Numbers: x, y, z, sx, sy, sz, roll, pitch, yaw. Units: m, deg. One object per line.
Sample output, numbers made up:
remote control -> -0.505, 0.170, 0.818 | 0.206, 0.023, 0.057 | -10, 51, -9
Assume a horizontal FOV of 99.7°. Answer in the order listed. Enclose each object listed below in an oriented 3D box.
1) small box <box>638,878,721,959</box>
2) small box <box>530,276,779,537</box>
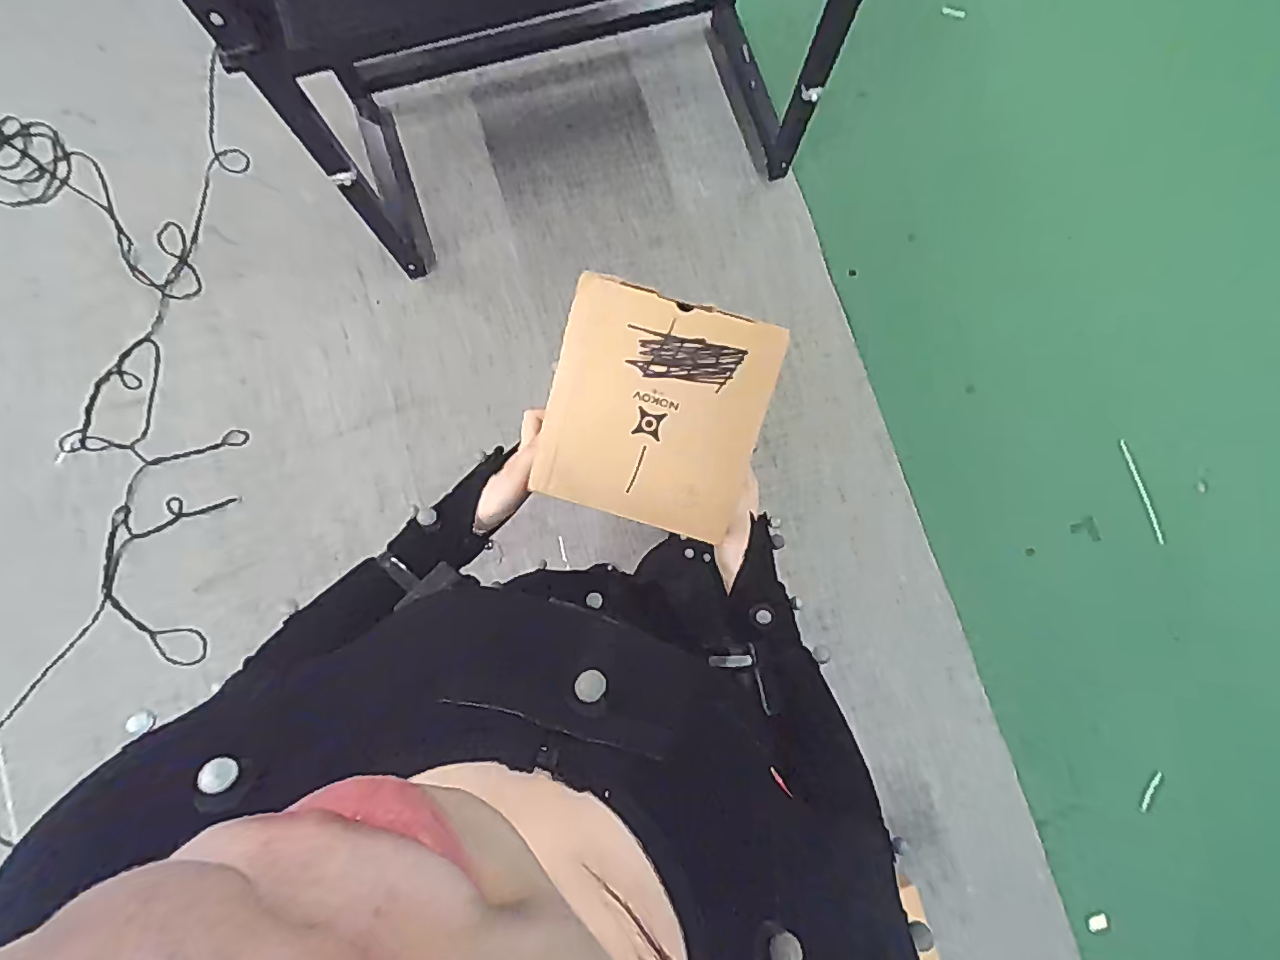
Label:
small box -> 0.089, 1.027, 1.188 | 0.168, 0.176, 0.179 | -9, 83, -3
small box -> 0.013, -0.070, 0.512 | 0.168, 0.176, 0.179 | 16, 102, 1
